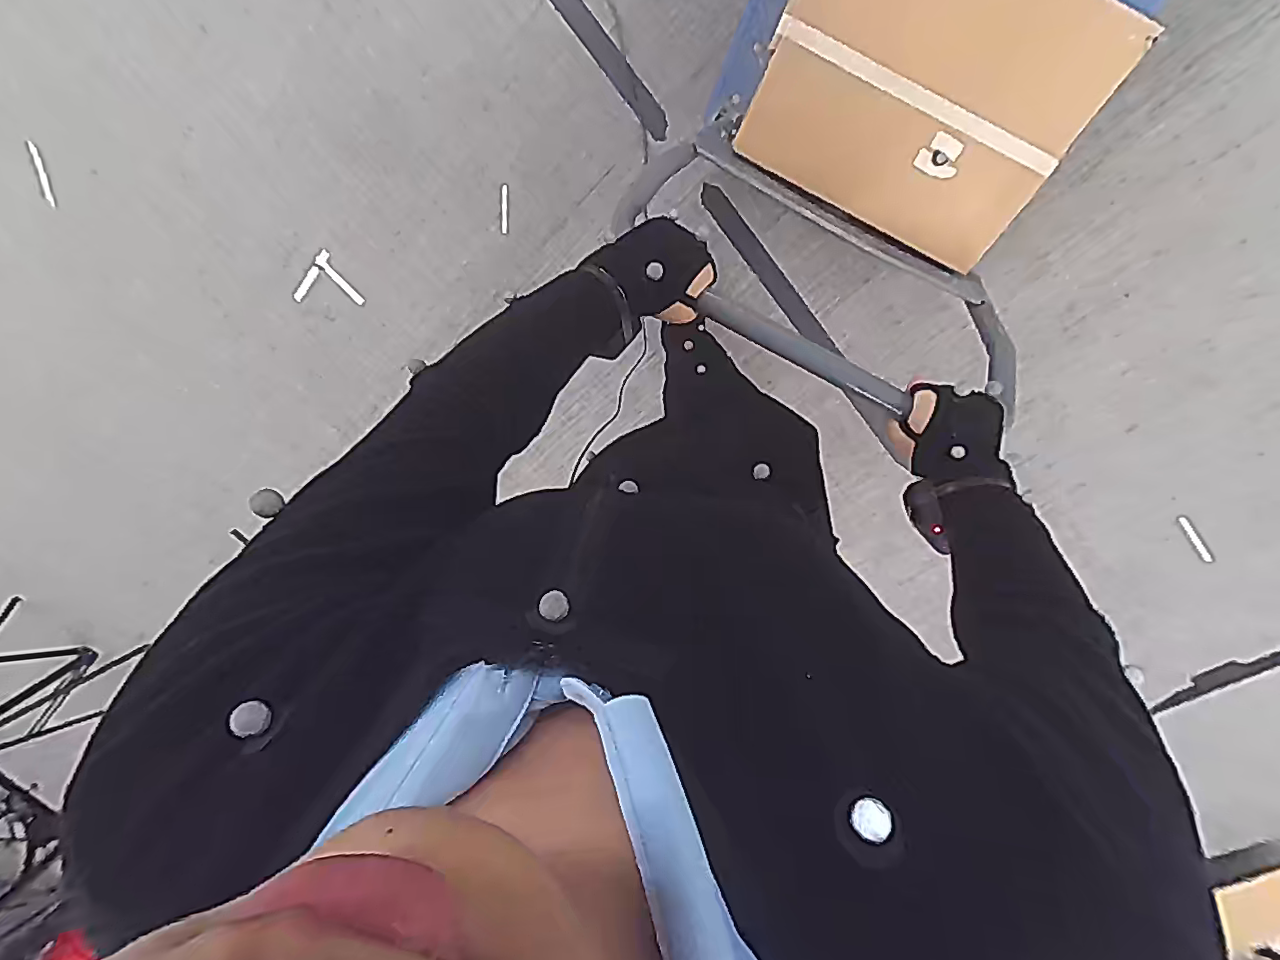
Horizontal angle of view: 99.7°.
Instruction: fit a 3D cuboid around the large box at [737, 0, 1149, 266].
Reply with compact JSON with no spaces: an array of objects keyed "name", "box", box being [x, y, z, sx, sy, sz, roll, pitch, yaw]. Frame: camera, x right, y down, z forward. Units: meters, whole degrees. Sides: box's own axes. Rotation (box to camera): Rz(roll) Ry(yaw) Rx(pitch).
[{"name":"large box","box":[0.411,-0.602,0.846,0.408,0.320,0.320,27,129,-2]}]
